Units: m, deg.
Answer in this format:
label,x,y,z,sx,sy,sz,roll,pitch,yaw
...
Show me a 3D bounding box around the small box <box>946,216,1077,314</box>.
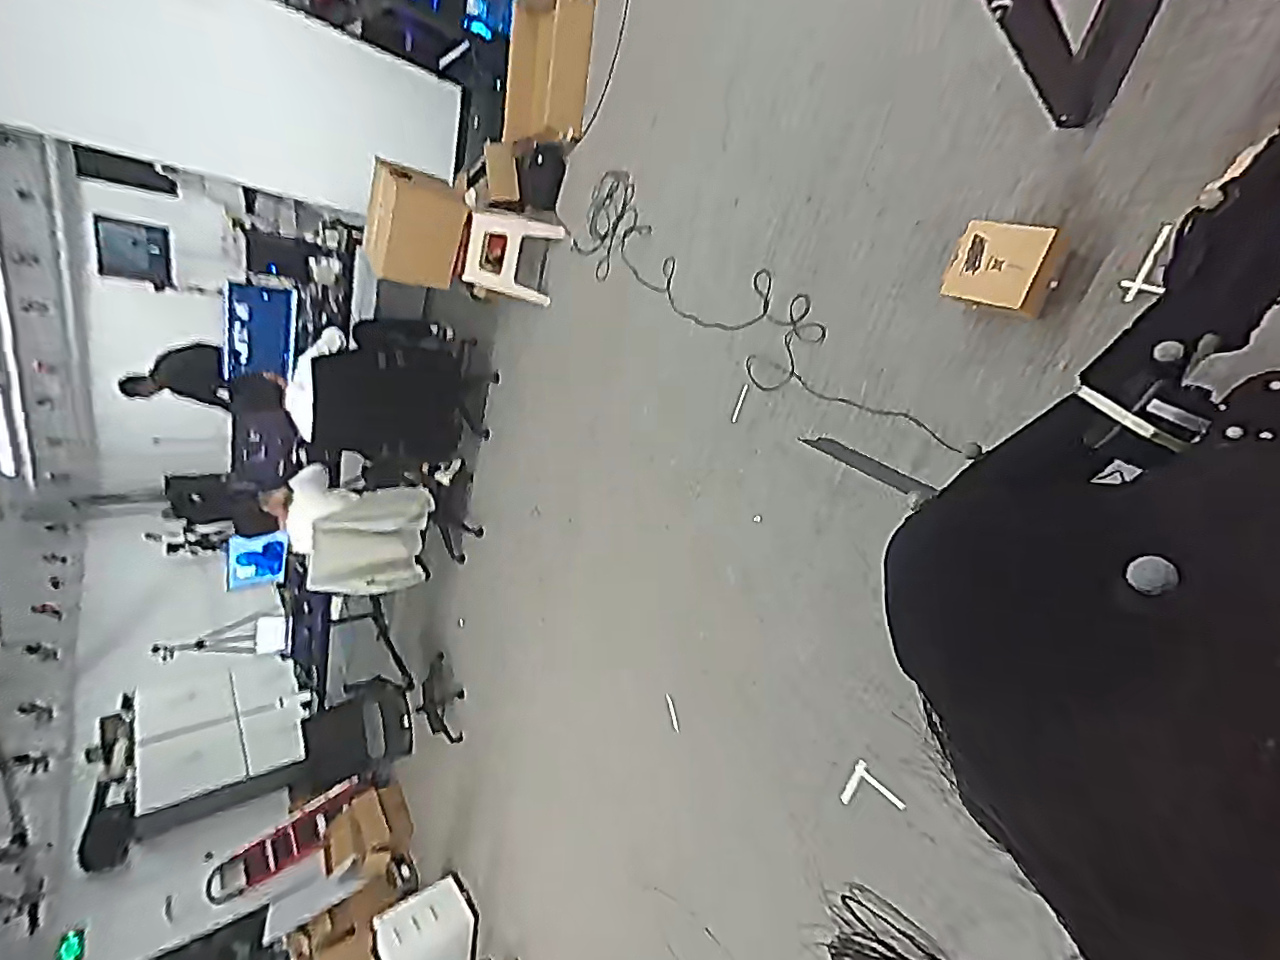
label,x,y,z,sx,sy,sz,roll,pitch,yaw
small box,0.843,-0.484,1.228,0.179,0.176,0.168,33,117,41
